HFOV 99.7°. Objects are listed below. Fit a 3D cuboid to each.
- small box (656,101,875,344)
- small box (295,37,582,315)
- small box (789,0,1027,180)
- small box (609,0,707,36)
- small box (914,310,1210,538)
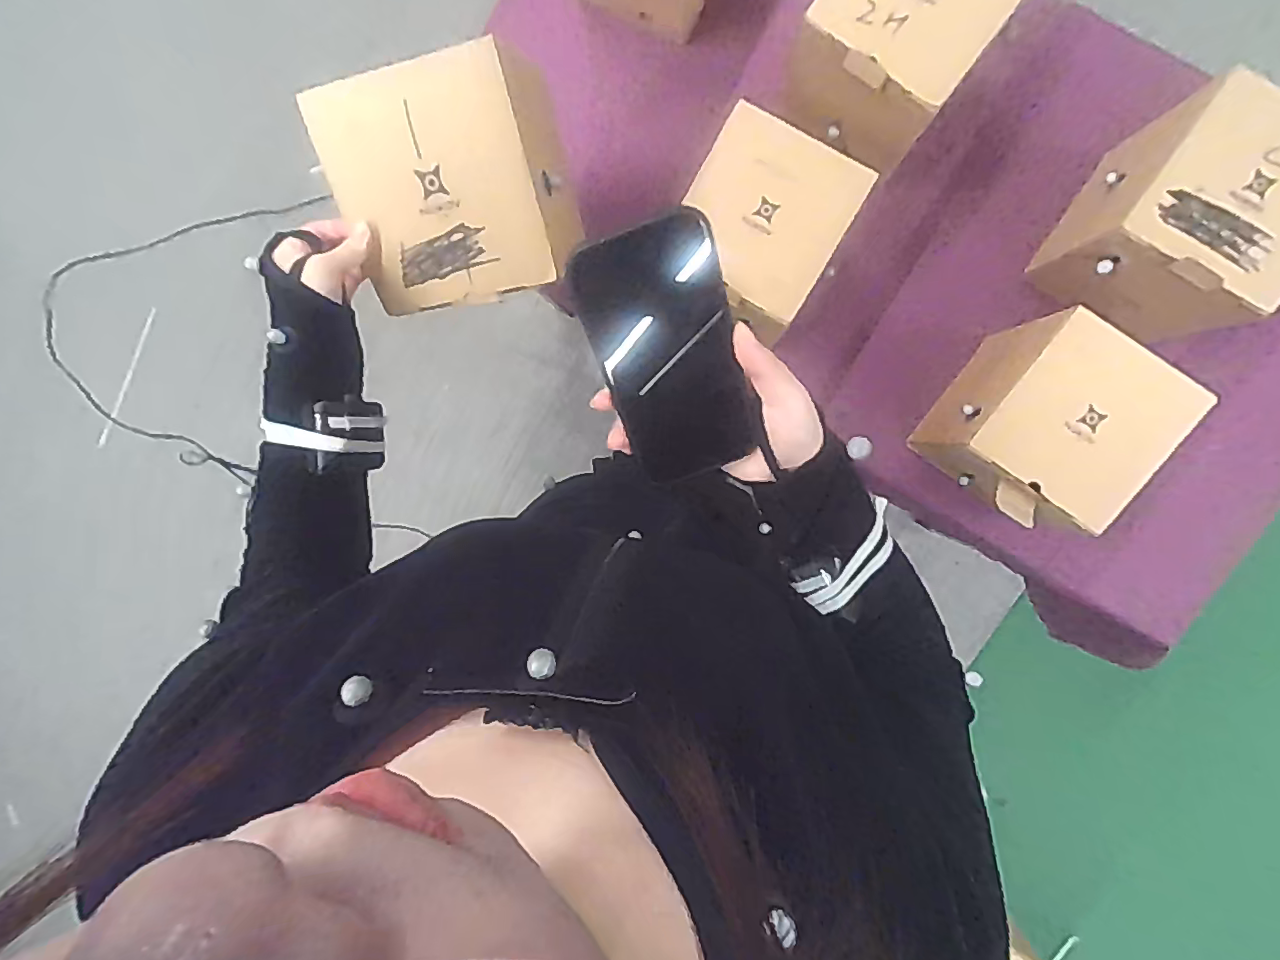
[{"bbox_3d":[0.138,-0.282,0.642,0.168,0.176,0.179,31,97,2],"label":"small box"},{"bbox_3d":[-0.162,-0.277,0.509,0.168,0.176,0.179,-9,120,10],"label":"small box"},{"bbox_3d":[0.288,-0.487,0.604,0.168,0.176,0.179,38,99,2],"label":"small box"},{"bbox_3d":[0.019,-0.671,0.616,0.168,0.176,0.179,27,99,3],"label":"small box"},{"bbox_3d":[0.459,-0.063,0.626,0.168,0.176,0.179,36,98,2],"label":"small box"}]
